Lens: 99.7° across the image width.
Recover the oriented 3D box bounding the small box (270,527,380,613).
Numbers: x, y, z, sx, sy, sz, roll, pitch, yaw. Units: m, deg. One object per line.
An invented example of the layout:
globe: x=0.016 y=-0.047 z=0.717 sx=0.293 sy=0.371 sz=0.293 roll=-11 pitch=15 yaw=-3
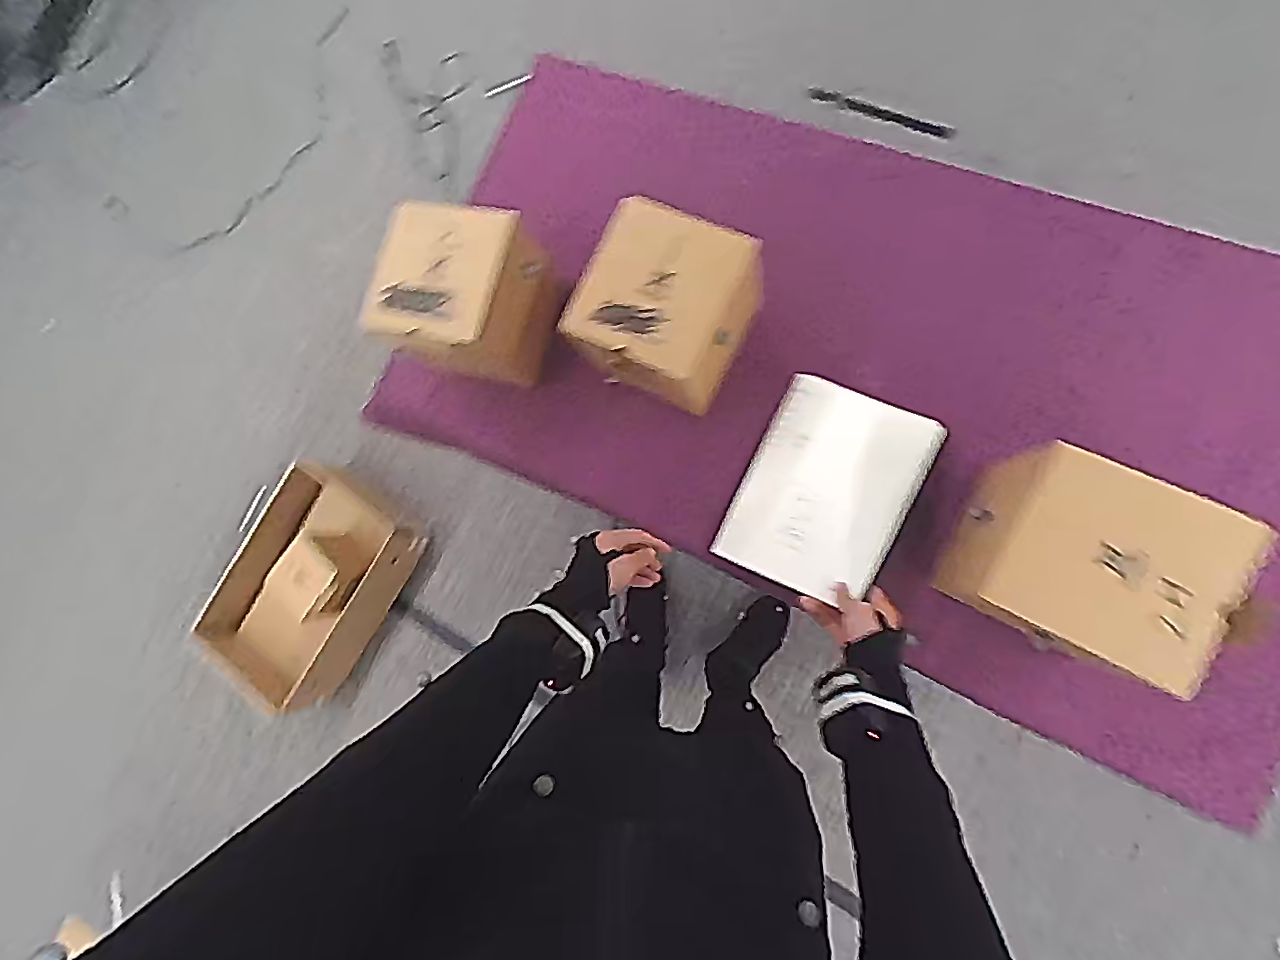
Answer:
small box: x=-0.888 y=0.249 z=1.541 sx=0.179 sy=0.176 sz=0.168 roll=42 pitch=94 yaw=14

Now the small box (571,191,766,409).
small box: x=0.047 y=-0.209 z=0.673 sx=0.168 sy=0.176 sz=0.179 roll=28 pitch=90 yaw=14

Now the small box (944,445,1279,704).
small box: x=0.446 y=0.088 z=0.545 sx=0.179 sy=0.176 sz=0.168 roll=29 pitch=91 yaw=14
